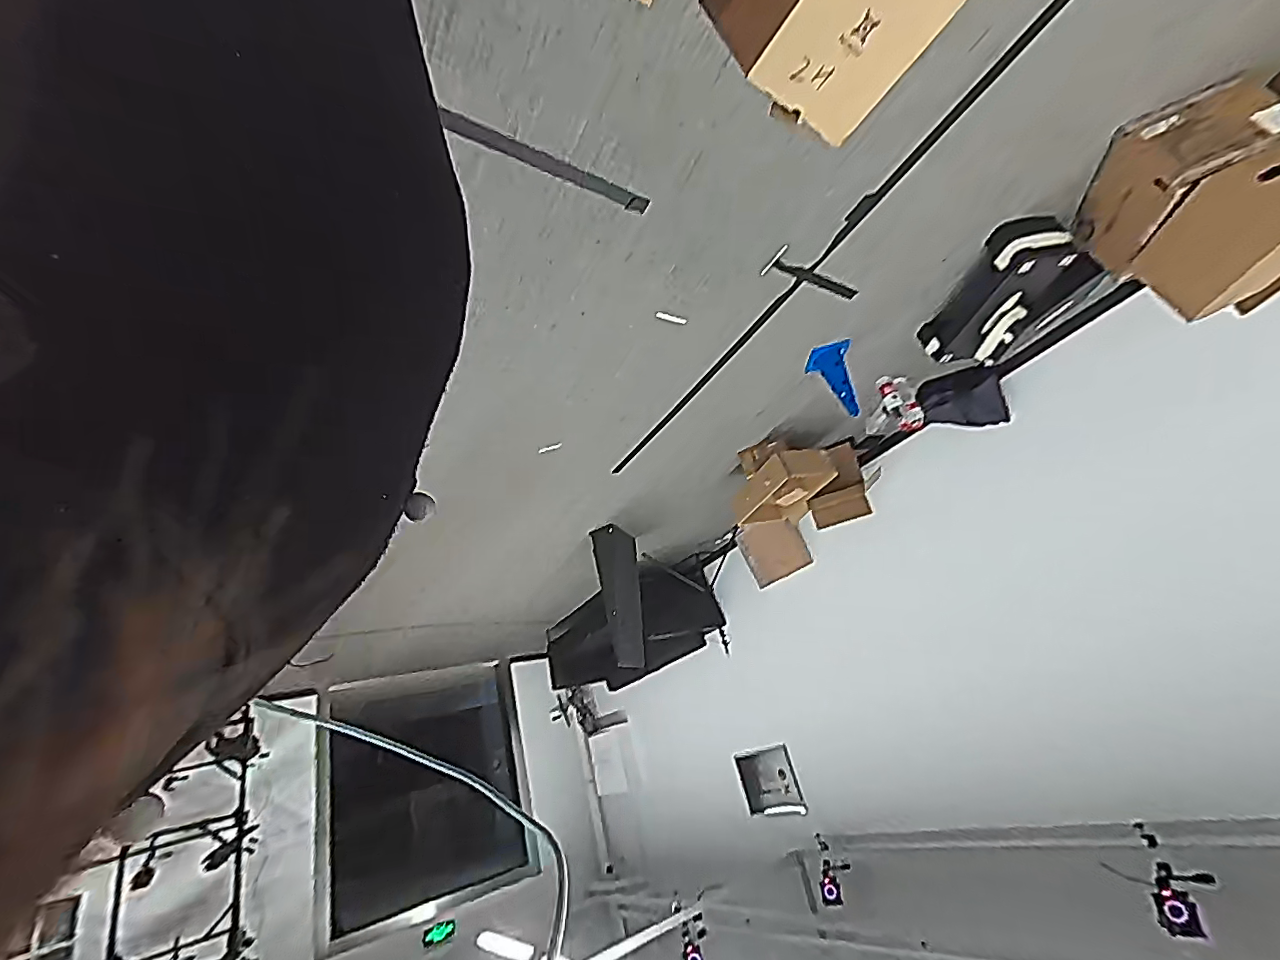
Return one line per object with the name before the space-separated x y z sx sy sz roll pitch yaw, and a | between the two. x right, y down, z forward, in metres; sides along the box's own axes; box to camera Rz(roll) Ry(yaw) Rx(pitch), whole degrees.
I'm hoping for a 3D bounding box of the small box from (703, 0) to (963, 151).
small box | 0.195 -0.515 0.583 0.168 0.176 0.179 6 146 -37
